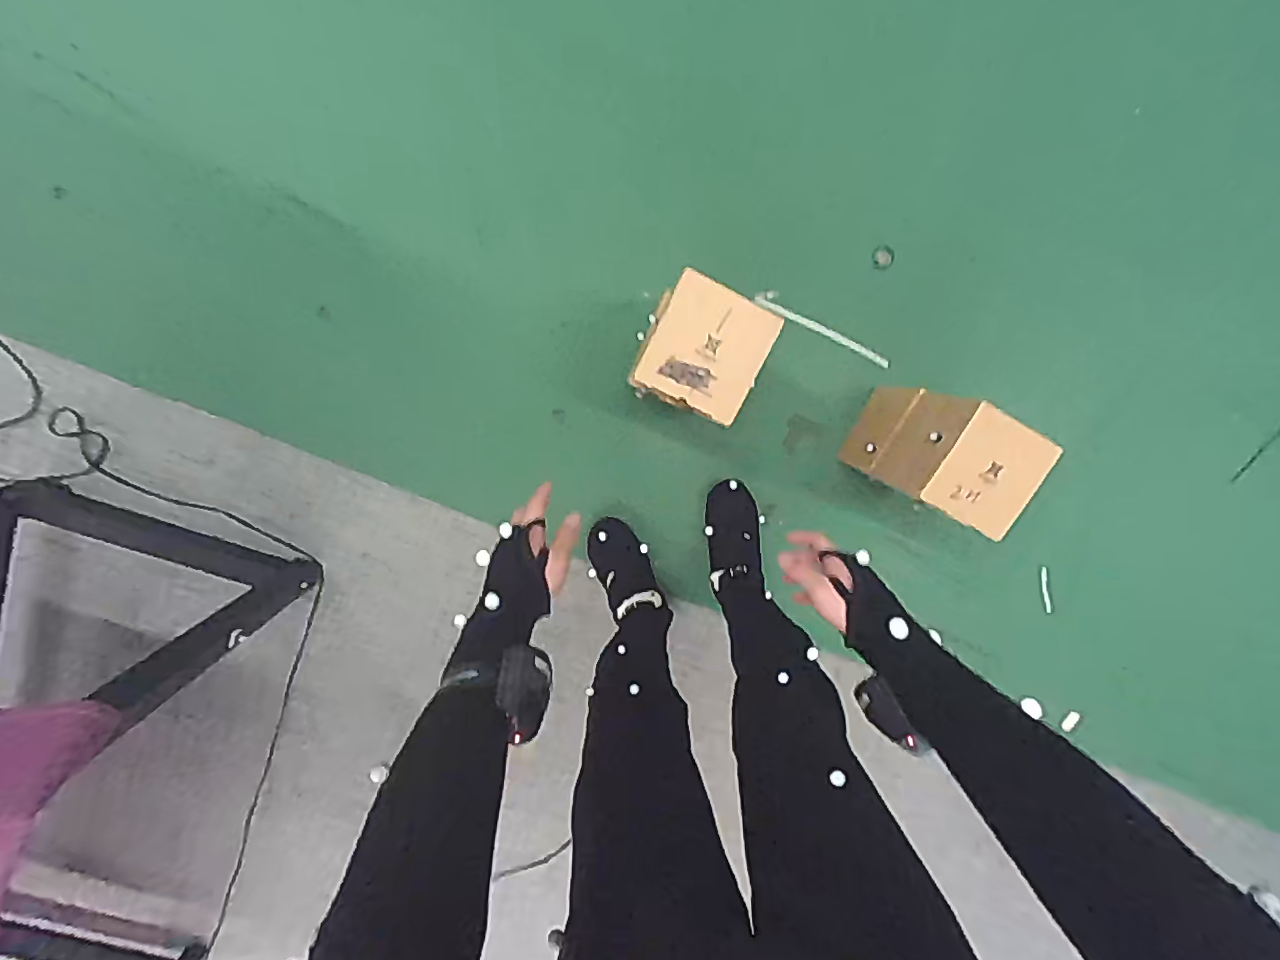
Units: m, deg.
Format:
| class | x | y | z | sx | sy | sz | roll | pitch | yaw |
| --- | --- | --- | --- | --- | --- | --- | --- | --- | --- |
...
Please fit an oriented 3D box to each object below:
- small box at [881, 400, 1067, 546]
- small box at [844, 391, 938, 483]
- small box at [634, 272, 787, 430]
| class | x | y | z | sx | sy | sz | roll | pitch | yaw |
| --- | --- | --- | --- | --- | --- | --- | --- | --- | --- |
| small box | 0.549 | -0.021 | 0.920 | 0.168 | 0.176 | 0.179 | 28 | 101 | -8 |
| small box | 0.541 | -0.065 | 1.078 | 0.168 | 0.176 | 0.179 | 26 | 102 | -8 |
| small box | 0.101 | -0.199 | 0.861 | 0.168 | 0.176 | 0.179 | 26 | 99 | -7 |
